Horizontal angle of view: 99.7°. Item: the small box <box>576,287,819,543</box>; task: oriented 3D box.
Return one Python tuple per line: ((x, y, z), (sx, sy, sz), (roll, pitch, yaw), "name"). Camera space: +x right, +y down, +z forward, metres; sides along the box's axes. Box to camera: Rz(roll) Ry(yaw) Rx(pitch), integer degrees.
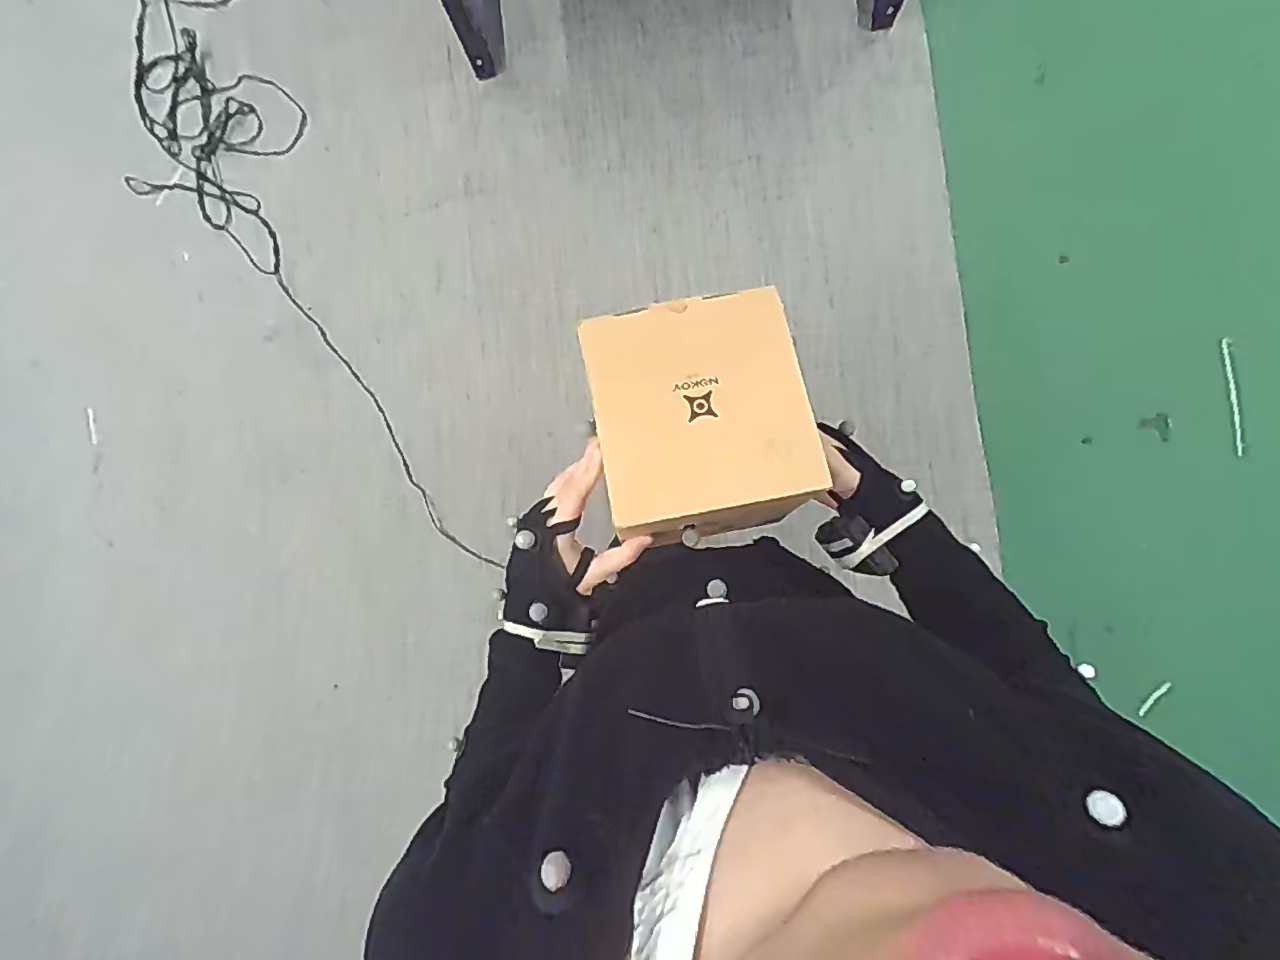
((0.044, -0.043, 0.501), (0.168, 0.176, 0.179), (-11, 75, -1), "small box")
